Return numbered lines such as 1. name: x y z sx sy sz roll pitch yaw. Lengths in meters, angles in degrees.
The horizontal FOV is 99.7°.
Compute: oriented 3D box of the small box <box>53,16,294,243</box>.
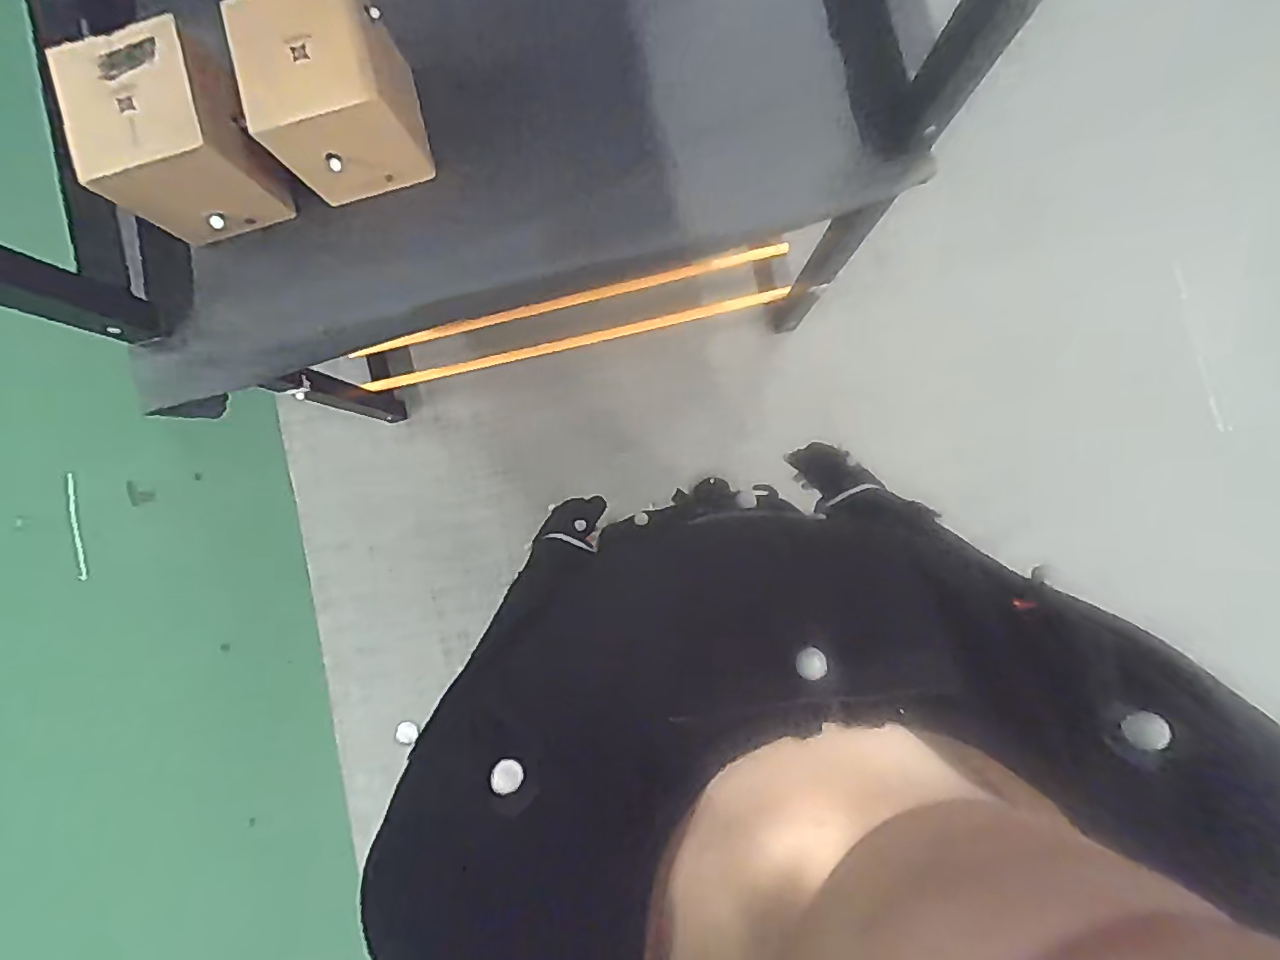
1. small box: -0.616 -0.459 0.735 0.168 0.176 0.179 -15 87 2
